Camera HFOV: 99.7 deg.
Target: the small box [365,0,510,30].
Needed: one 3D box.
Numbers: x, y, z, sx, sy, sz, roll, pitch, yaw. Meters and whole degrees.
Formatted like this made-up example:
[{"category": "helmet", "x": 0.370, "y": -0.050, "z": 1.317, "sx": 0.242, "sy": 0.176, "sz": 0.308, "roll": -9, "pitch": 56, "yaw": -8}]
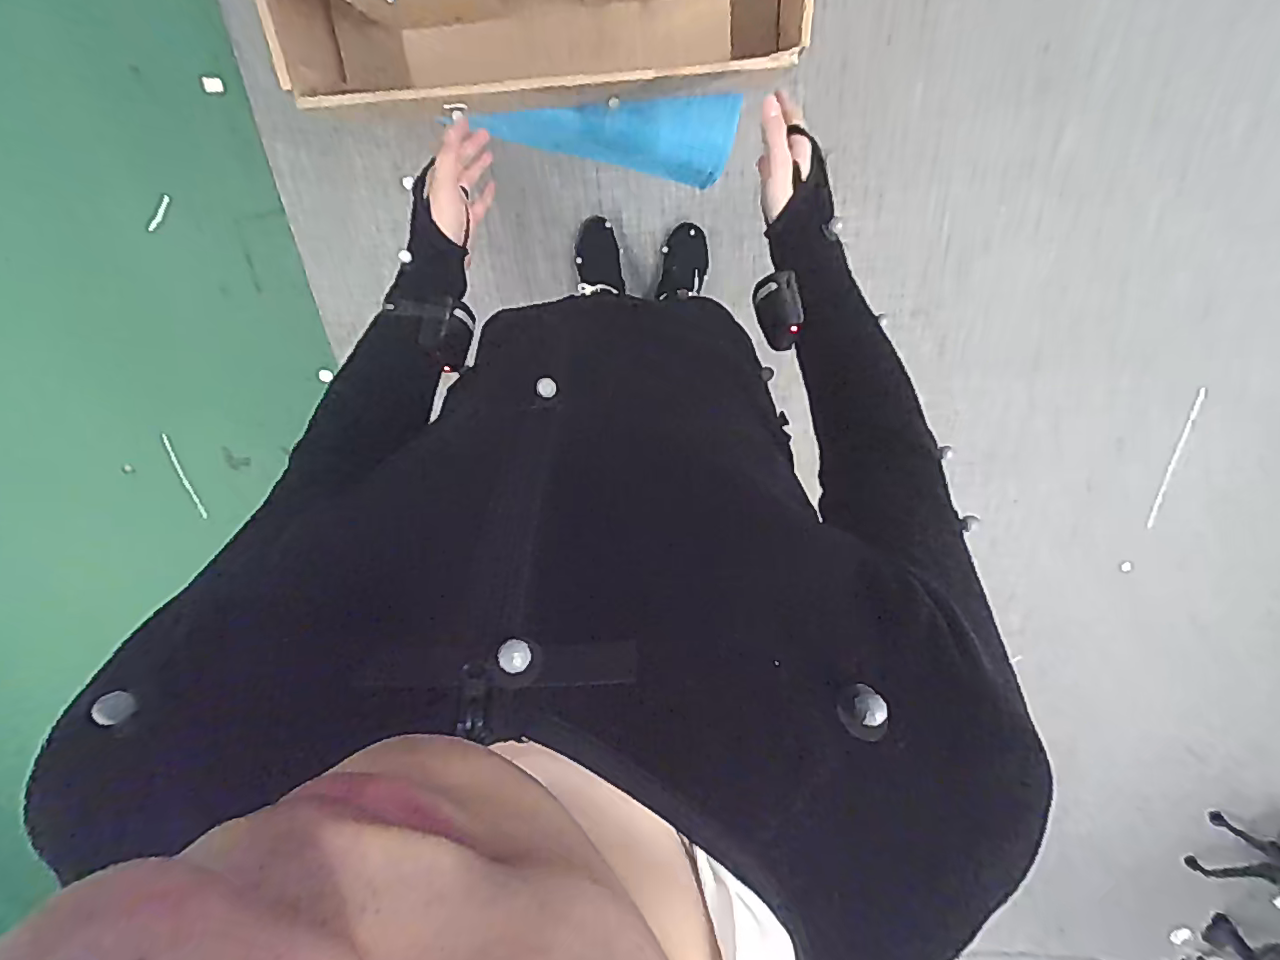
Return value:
[{"category": "small box", "x": -0.254, "y": -0.639, "z": 0.598, "sx": 0.168, "sy": 0.176, "sz": 0.179, "roll": -2, "pitch": 116, "yaw": 3}]
